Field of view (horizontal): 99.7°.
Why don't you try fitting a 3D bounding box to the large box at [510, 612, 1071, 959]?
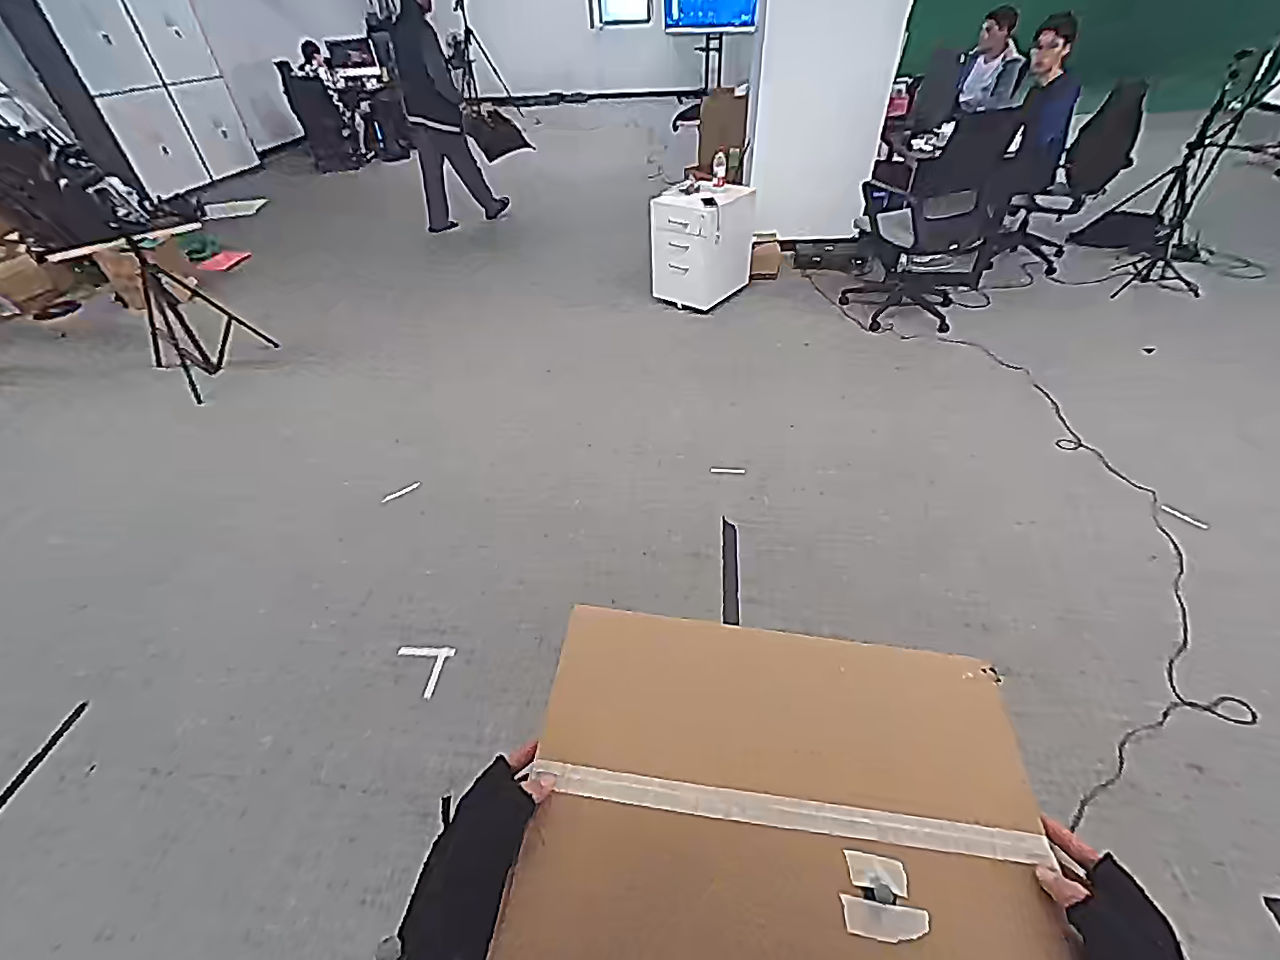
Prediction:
[{"bbox_3d":[0.114,0.368,0.556,0.408,0.320,0.320,7,48,4],"label":"large box"}]
